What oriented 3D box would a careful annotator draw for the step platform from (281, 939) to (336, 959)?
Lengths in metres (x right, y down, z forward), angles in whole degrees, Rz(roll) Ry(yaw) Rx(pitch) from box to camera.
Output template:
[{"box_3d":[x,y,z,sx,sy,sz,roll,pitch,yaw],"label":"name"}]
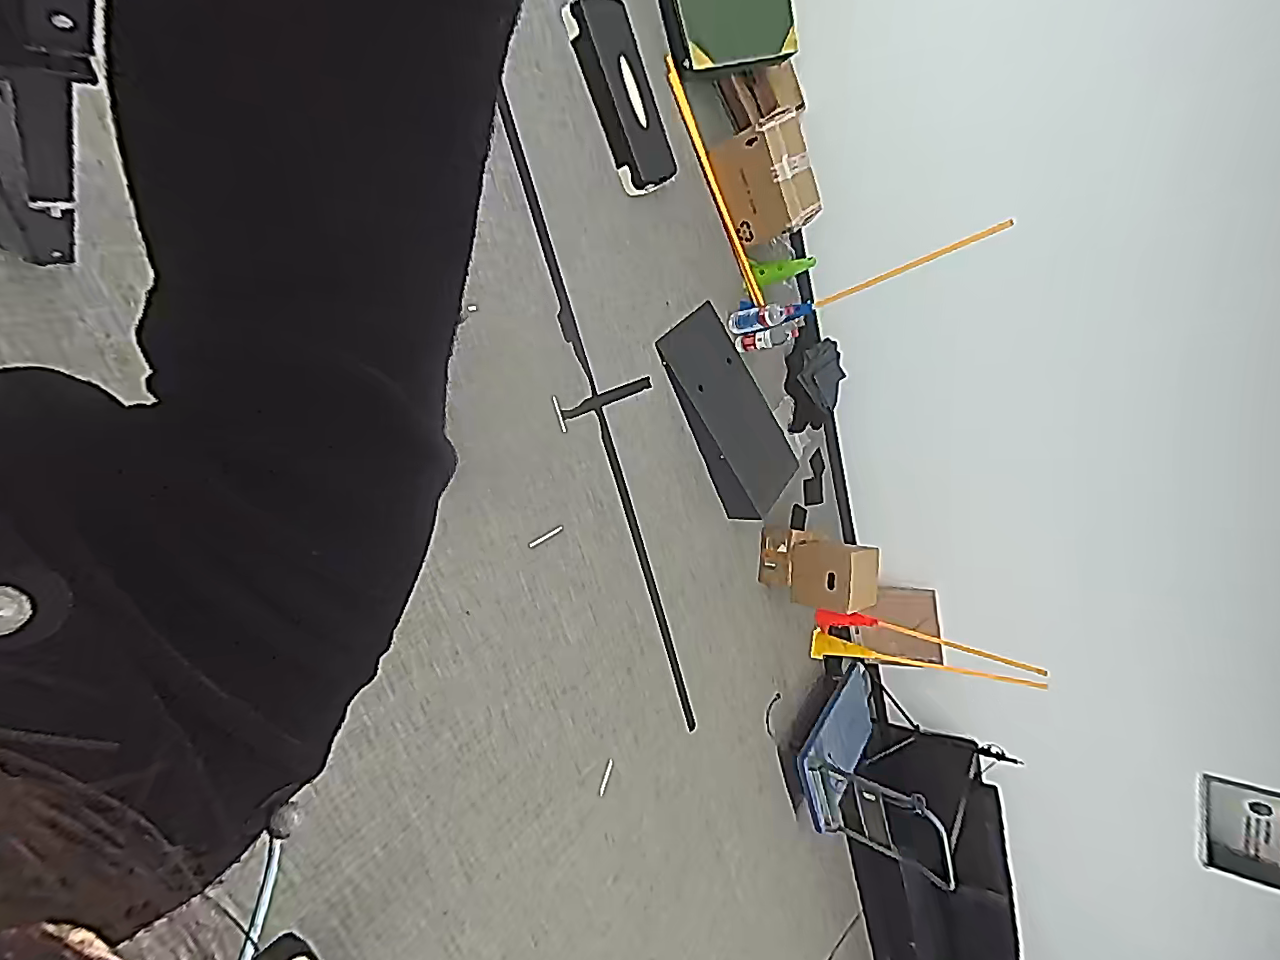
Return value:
[{"box_3d":[-0.930,1.351,1.088,0.684,0.204,0.286,-23,105,-46],"label":"step platform"}]
